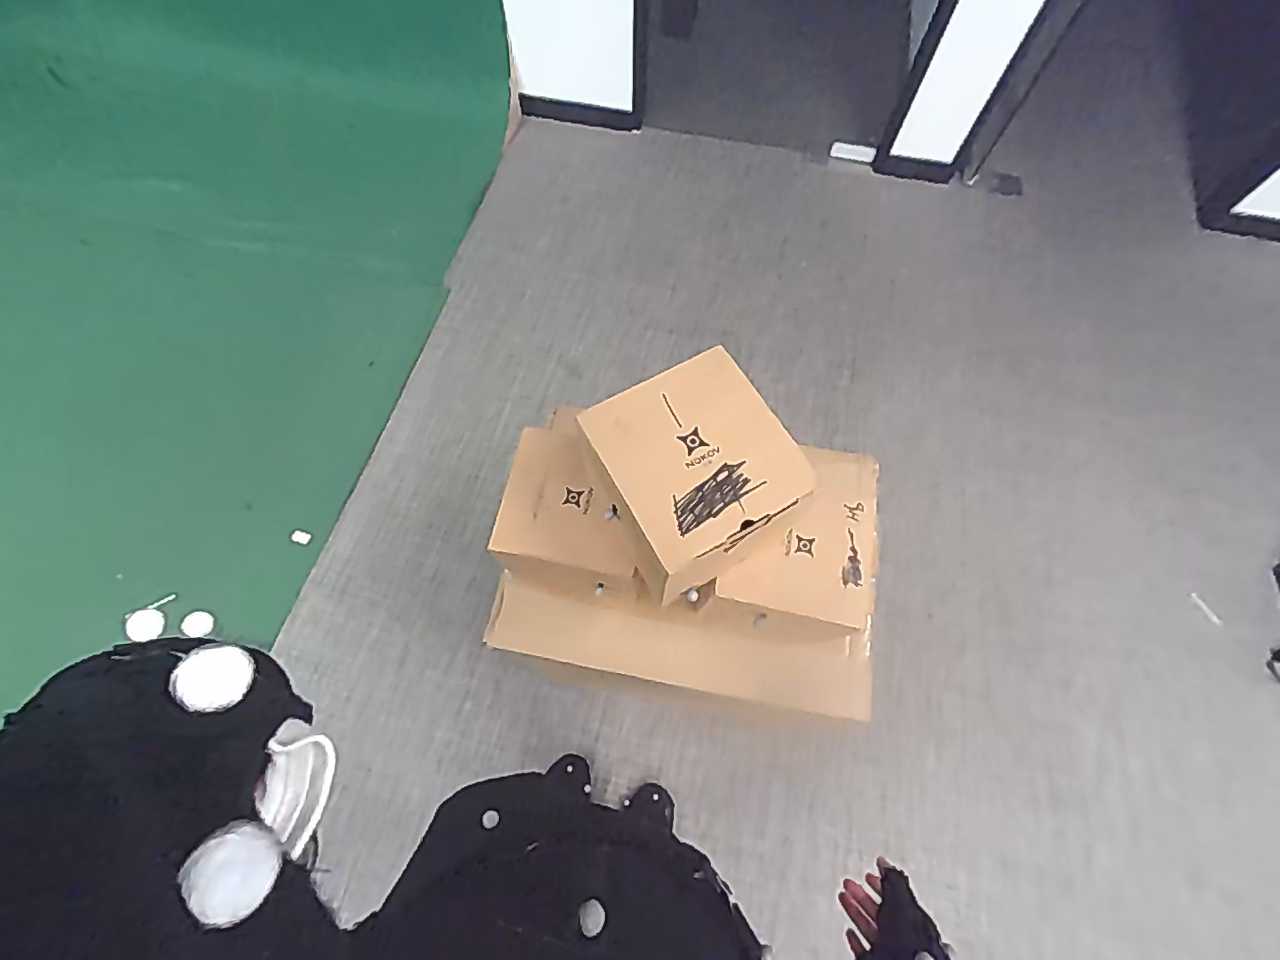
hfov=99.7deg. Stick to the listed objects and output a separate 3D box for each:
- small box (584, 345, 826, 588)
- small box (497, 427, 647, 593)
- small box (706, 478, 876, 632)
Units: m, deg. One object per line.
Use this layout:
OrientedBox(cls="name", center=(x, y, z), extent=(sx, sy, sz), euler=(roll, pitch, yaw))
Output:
OrientedBox(cls="small box", center=(0.059, -0.001, 0.573), extent=(0.168, 0.176, 0.179), euler=(-28, 70, -11))
OrientedBox(cls="small box", center=(-0.068, 0.049, 0.729), extent=(0.179, 0.176, 0.168), euler=(9, 68, 4))
OrientedBox(cls="small box", center=(0.188, 0.097, 0.713), extent=(0.179, 0.176, 0.168), euler=(11, 70, 5))
